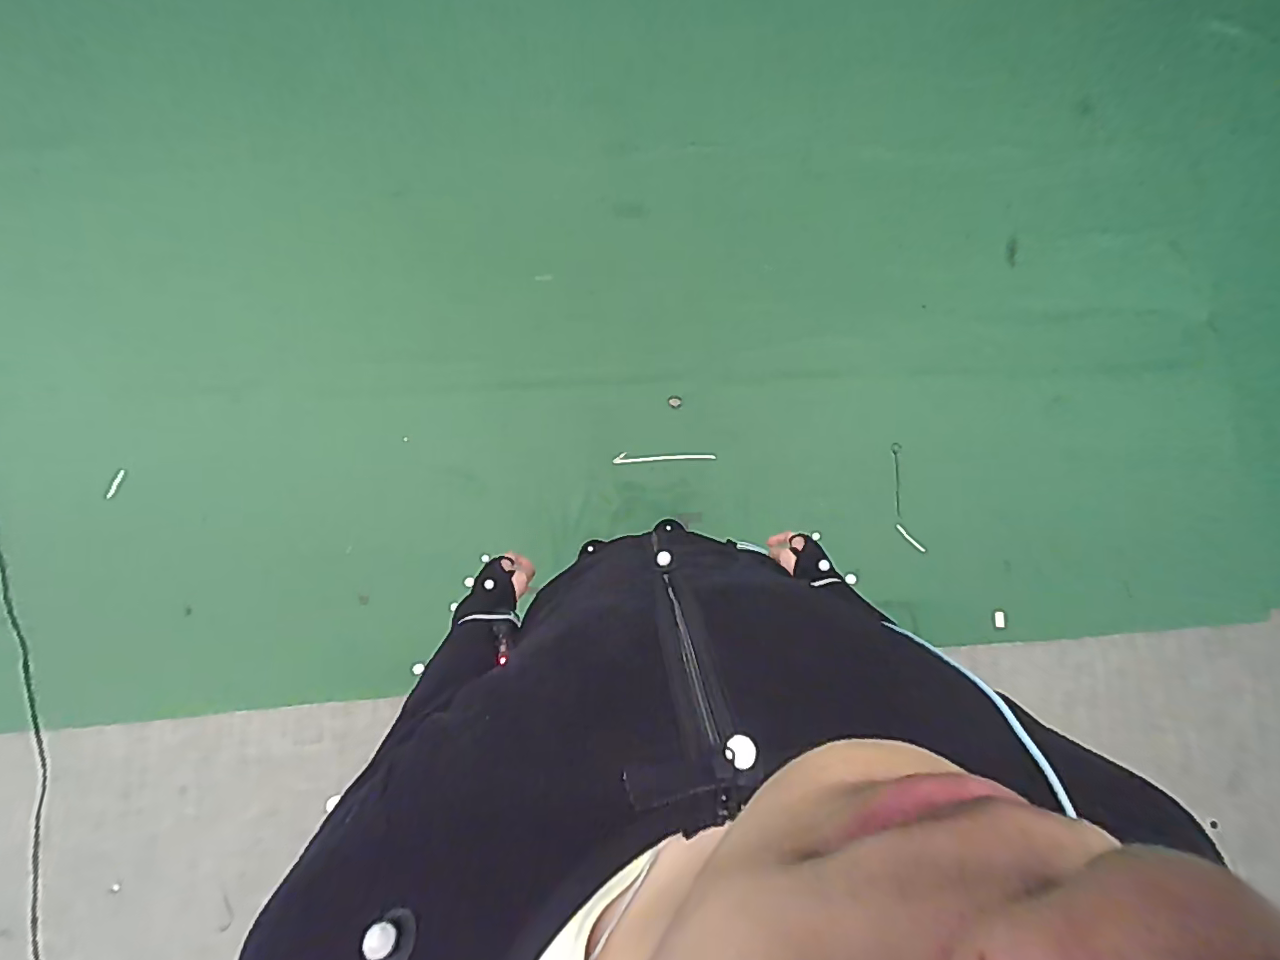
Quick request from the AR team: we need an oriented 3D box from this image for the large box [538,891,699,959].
[{"bbox_3d":[-0.046,1.340,1.391,0.408,0.320,0.320,-6,85,-5],"label":"large box"}]
